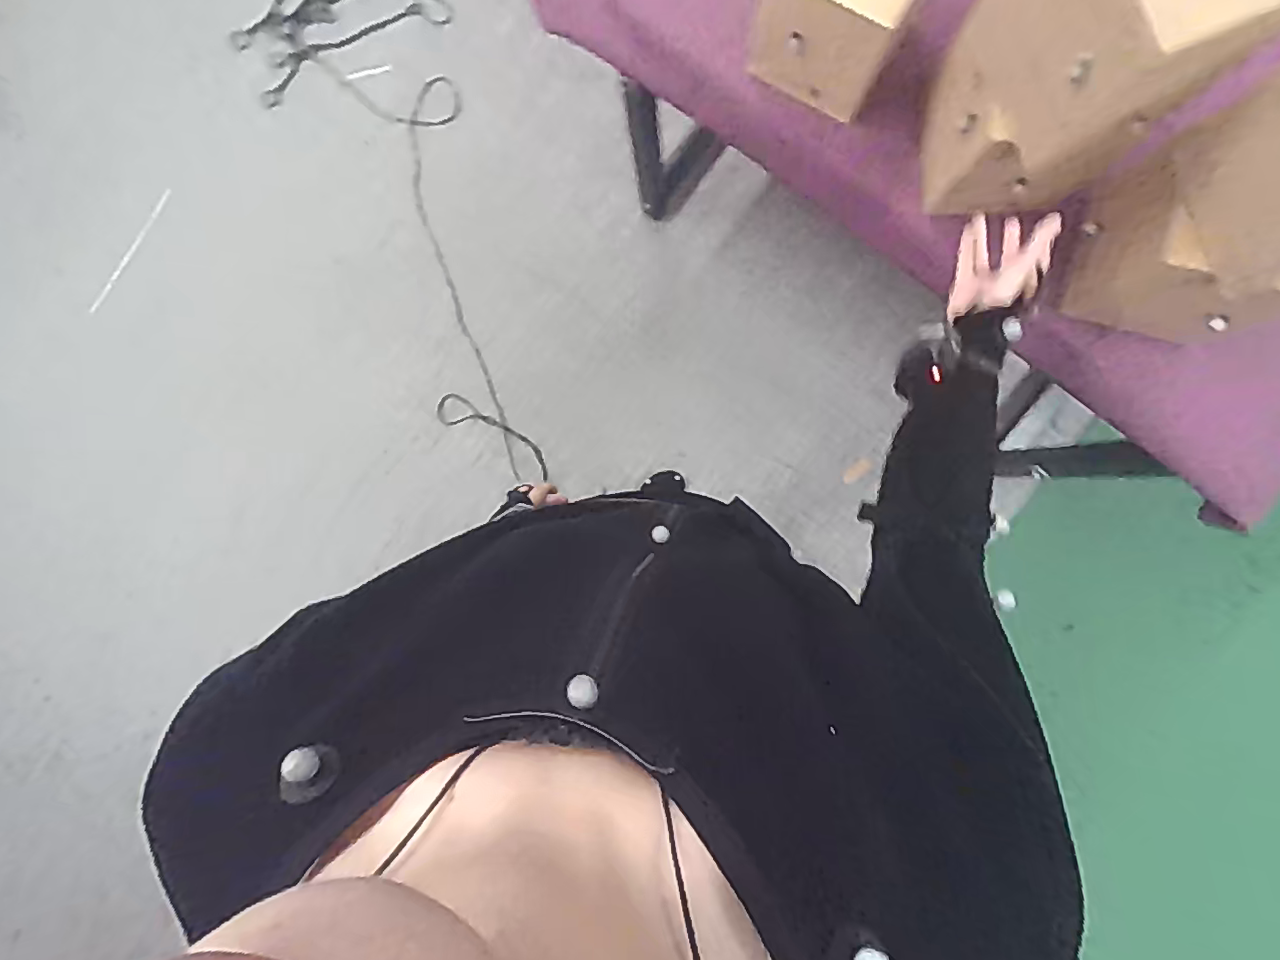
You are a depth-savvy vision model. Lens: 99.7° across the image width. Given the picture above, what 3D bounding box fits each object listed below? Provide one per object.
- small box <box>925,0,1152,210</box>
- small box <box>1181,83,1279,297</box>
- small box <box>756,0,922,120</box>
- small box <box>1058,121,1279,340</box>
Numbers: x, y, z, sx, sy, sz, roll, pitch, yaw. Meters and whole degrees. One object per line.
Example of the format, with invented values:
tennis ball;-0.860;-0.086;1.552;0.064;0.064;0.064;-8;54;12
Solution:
small box;0.473;-0.454;0.668;0.168;0.176;0.179;0;90;4
small box;0.664;-0.296;0.491;0.168;0.176;0.179;-17;88;2
small box;0.262;-0.613;0.686;0.168;0.176;0.179;31;91;4
small box;0.669;-0.283;0.654;0.179;0.176;0.168;16;89;5
